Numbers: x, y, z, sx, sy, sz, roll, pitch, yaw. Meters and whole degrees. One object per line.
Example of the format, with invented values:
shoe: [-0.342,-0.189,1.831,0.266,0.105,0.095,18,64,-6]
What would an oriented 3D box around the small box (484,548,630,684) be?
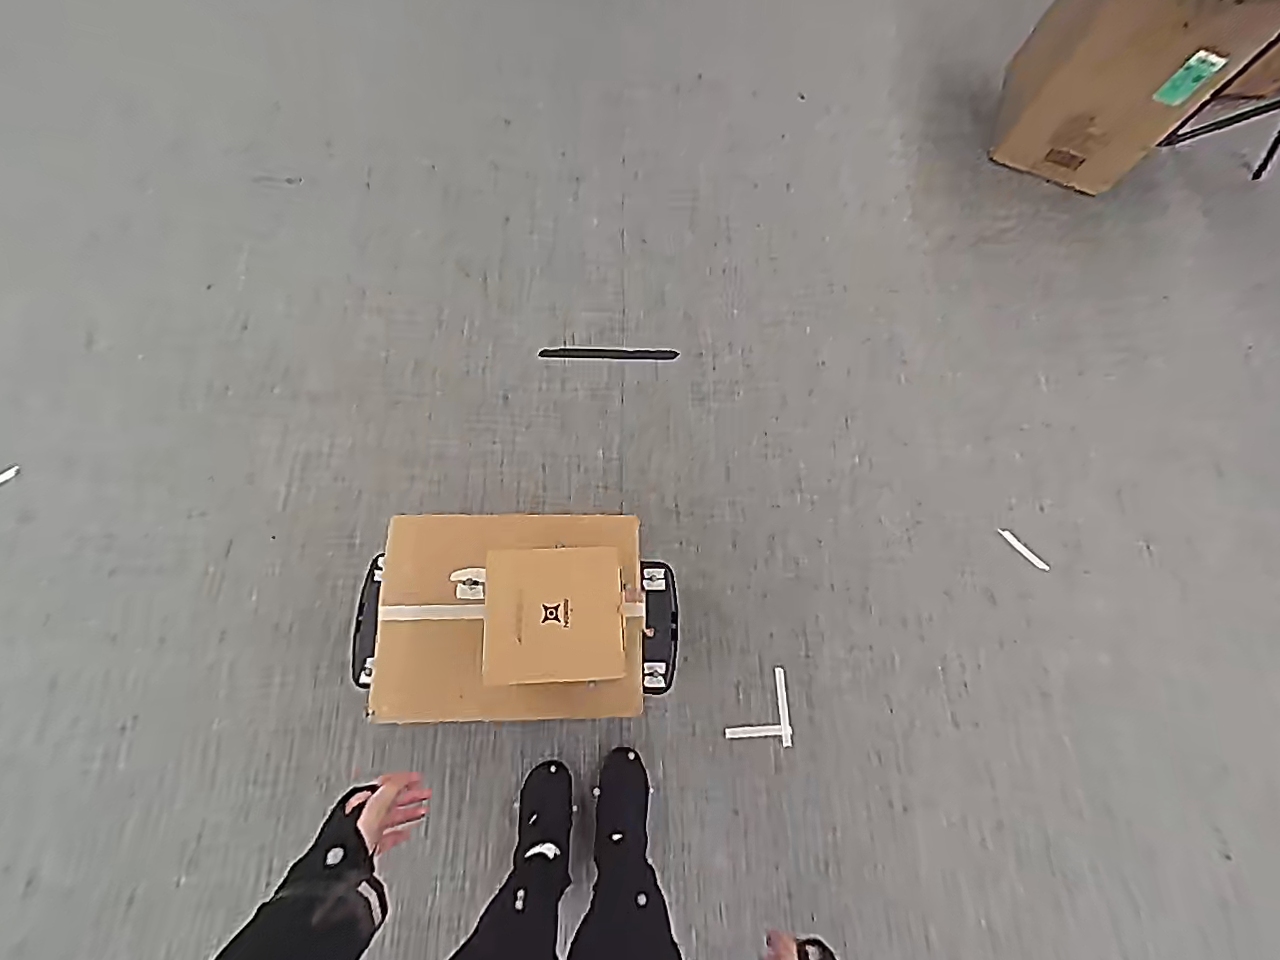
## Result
small box: [-0.106,0.187,0.746,0.179,0.176,0.168,-1,73,-4]

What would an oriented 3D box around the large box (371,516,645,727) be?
large box: [-0.202,0.252,0.977,0.408,0.320,0.320,0,72,-3]
